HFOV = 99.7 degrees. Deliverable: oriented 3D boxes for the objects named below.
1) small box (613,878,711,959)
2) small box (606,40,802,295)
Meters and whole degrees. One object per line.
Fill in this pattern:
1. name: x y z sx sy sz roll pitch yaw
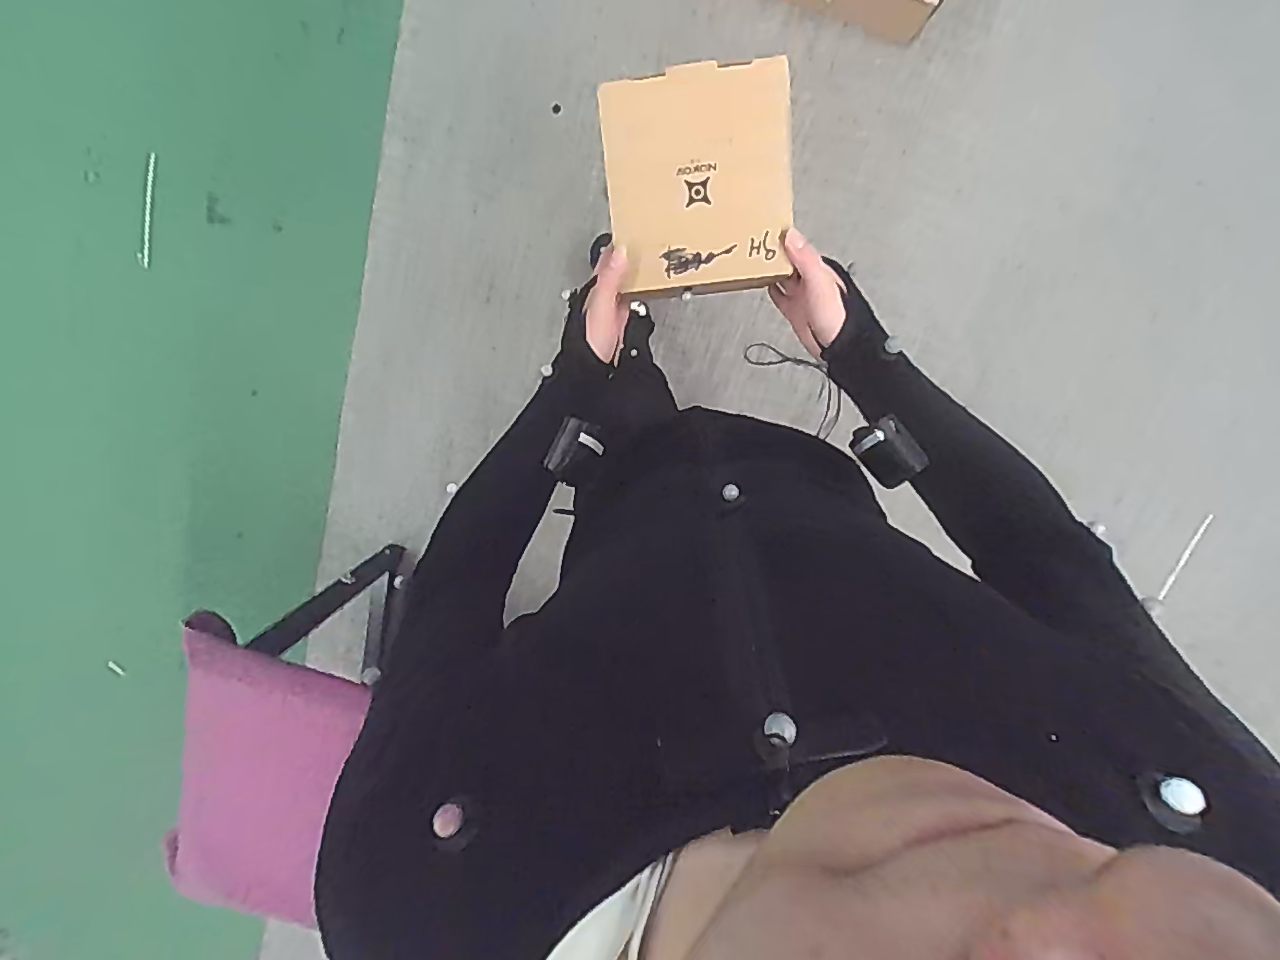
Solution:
1. small box: 0.037 0.905 1.012 0.168 0.176 0.179 12 104 2
2. small box: 0.063 -0.293 0.549 0.168 0.176 0.179 -4 104 6
